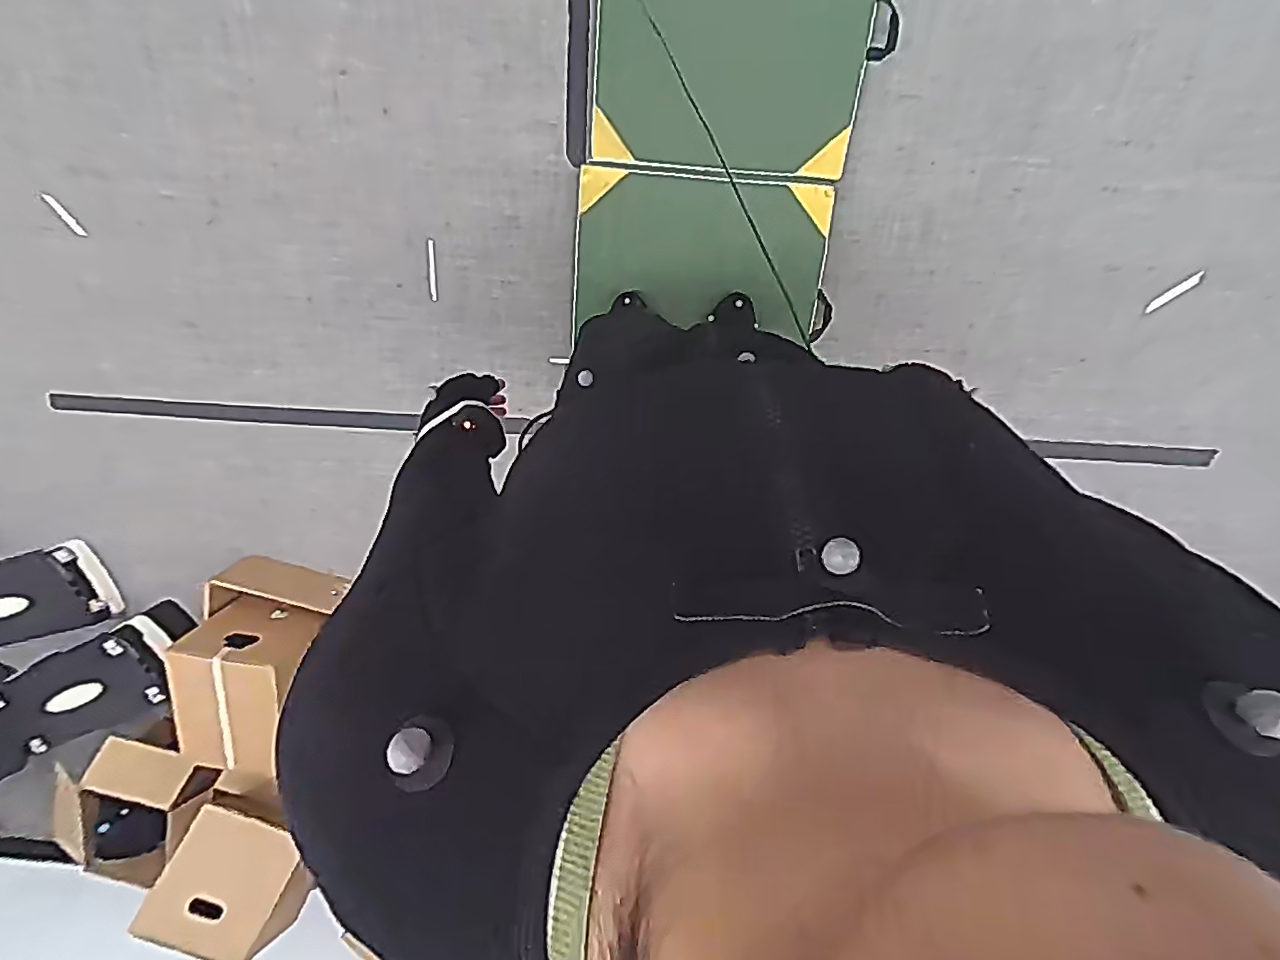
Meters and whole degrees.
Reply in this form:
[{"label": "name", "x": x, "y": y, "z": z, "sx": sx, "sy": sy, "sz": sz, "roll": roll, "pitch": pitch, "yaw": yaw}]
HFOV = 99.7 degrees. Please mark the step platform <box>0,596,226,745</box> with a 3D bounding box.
[{"label": "step platform", "x": -1.819, "y": 0.659, "z": 1.859, "sx": 0.684, "sy": 0.204, "sz": 0.286, "roll": -24, "pitch": 106, "yaw": 11}]
